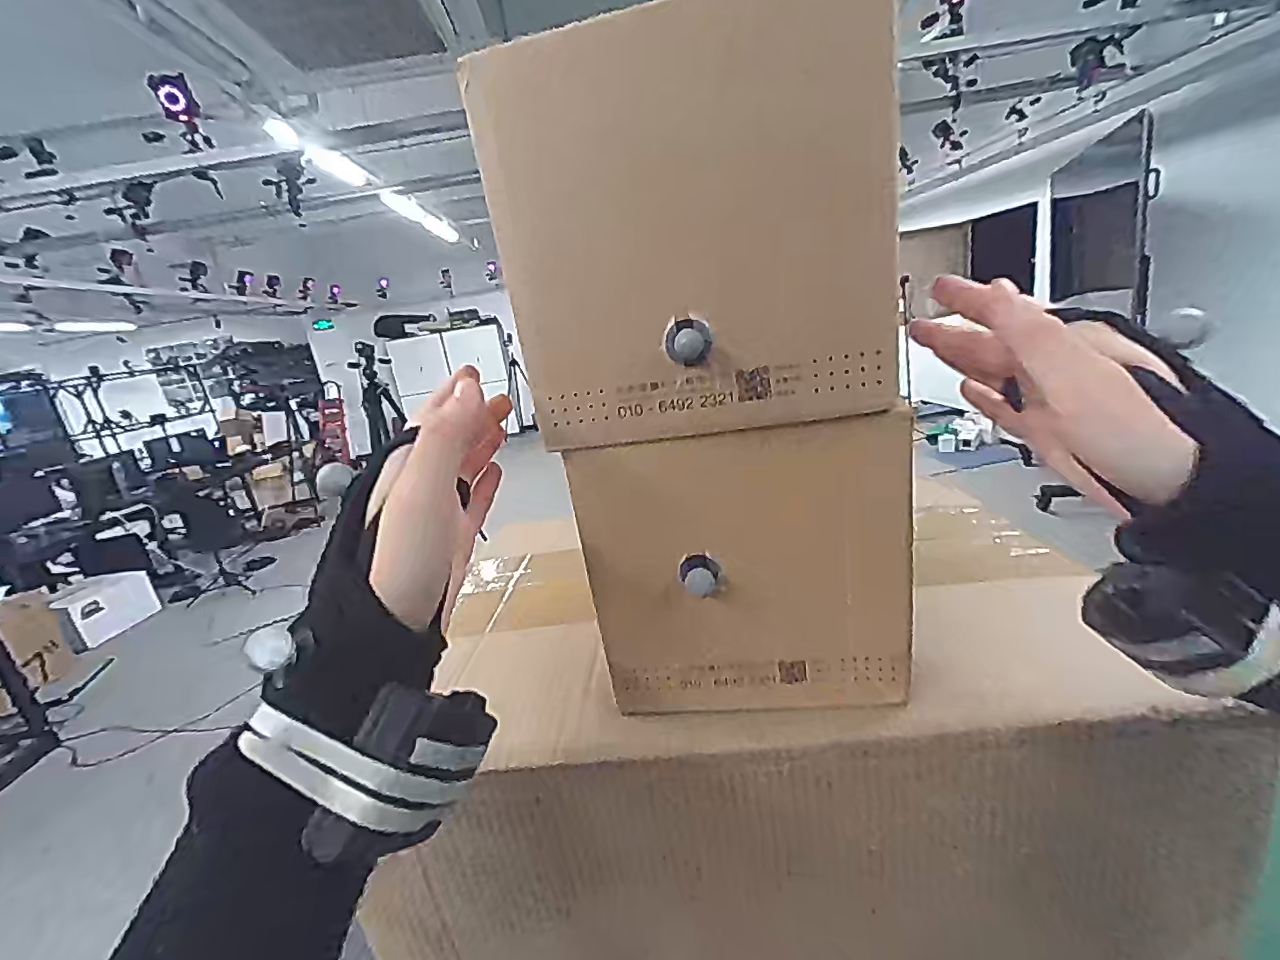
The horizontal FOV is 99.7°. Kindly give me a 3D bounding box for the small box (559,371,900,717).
[{"bbox_3d":[0.063,0.035,0.358,0.168,0.176,0.179,-6,18,11],"label":"small box"}]
